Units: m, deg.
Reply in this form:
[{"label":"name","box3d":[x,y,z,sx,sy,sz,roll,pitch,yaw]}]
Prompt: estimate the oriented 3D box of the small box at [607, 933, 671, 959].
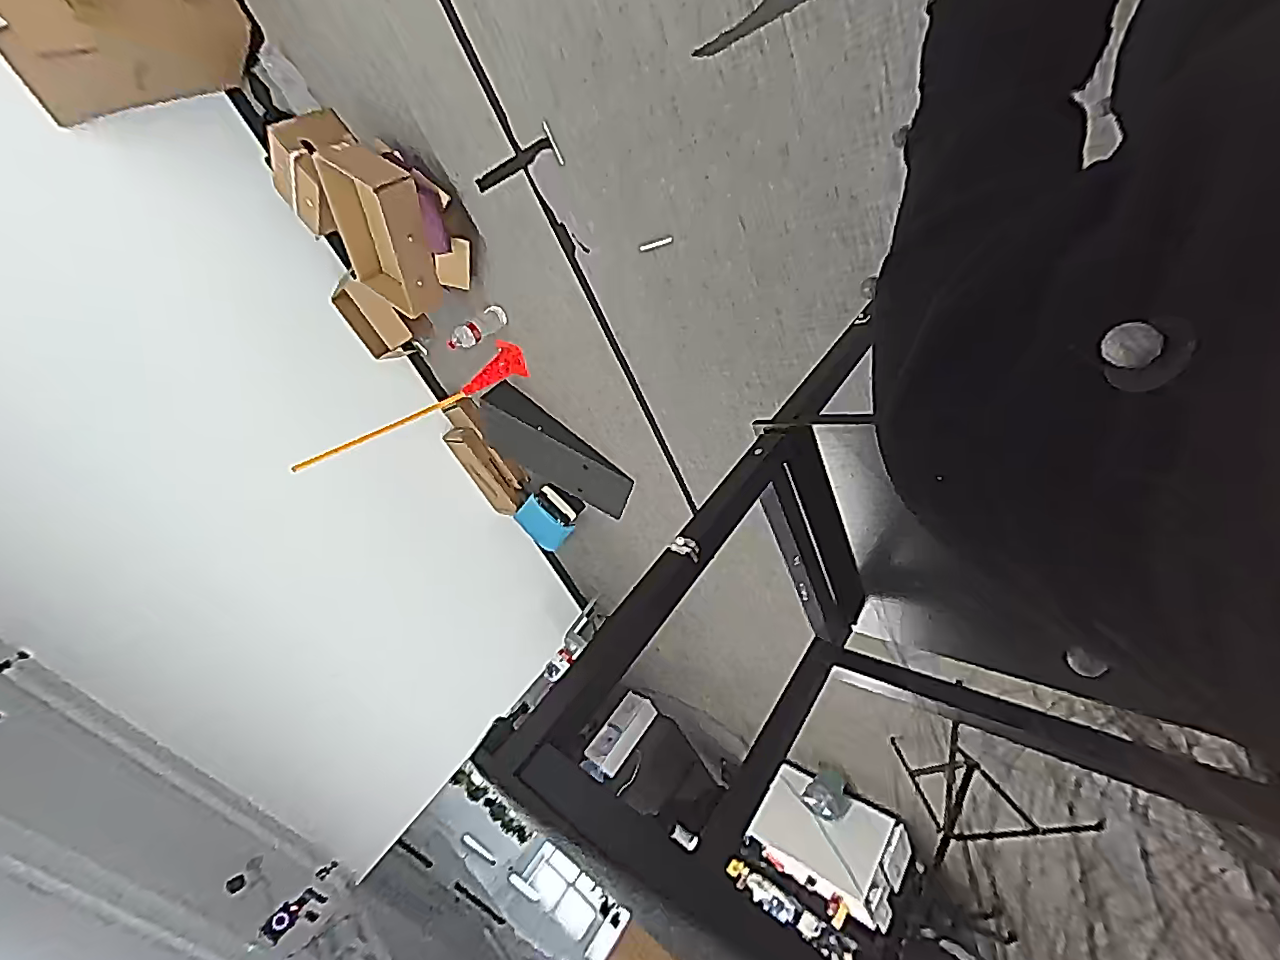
[{"label":"small box","box3d":[0.025,0.539,0.458,0.168,0.176,0.179,11,138,43]}]
